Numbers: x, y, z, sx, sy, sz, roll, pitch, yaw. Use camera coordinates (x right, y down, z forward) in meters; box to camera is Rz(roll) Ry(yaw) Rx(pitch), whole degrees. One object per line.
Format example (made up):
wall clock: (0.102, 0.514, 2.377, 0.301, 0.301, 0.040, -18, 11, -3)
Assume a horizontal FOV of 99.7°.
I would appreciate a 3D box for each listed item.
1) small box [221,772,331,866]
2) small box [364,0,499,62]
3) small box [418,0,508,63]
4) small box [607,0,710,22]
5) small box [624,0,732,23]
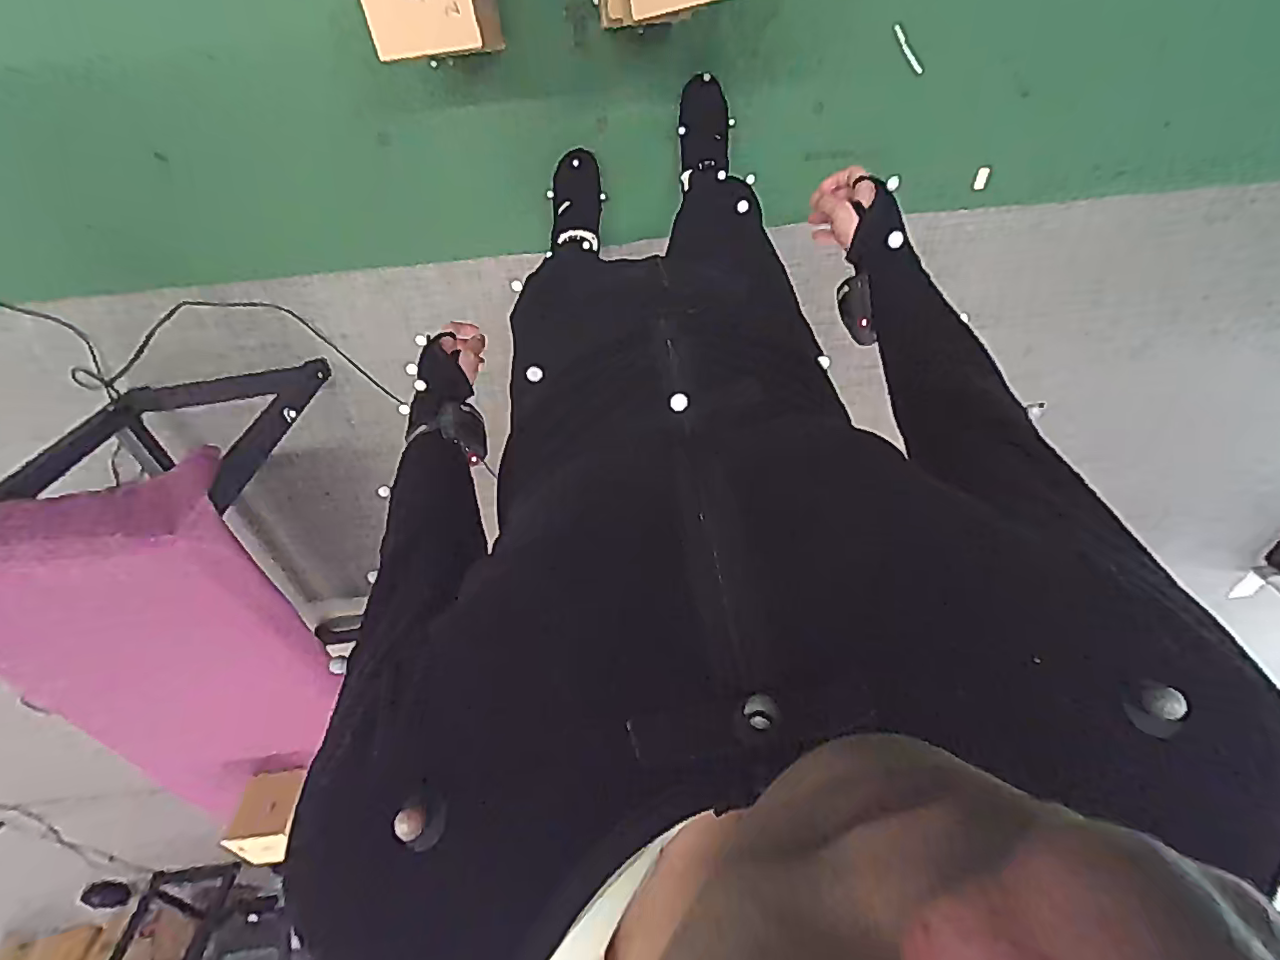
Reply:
small box: (-0.987, 0.932, 1.494, 0.179, 0.176, 0.168, -8, 127, 1)
small box: (-0.350, -0.810, 0.903, 0.179, 0.176, 0.168, -7, 128, 1)
small box: (-0.358, -0.915, 1.030, 0.168, 0.176, 0.179, -7, 127, 1)
small box: (0.023, -0.873, 0.886, 0.168, 0.176, 0.179, -8, 129, 0)
small box: (0.051, -0.773, 0.760, 0.168, 0.176, 0.179, -12, 130, 3)
